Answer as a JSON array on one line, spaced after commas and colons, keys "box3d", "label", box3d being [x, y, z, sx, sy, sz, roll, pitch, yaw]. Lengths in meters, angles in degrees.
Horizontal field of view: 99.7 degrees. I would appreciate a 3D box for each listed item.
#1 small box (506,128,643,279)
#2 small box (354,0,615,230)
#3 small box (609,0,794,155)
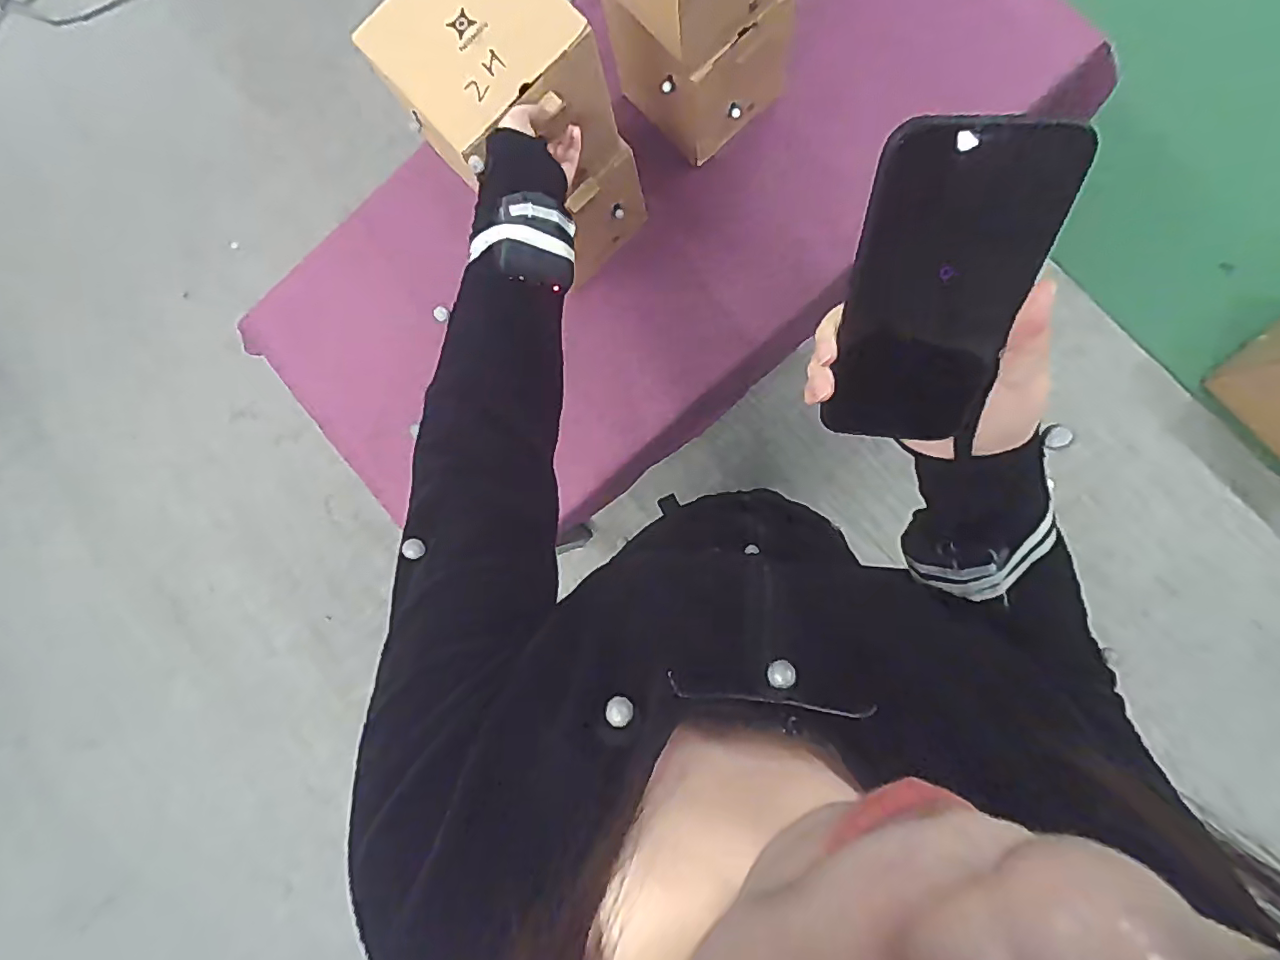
[{"box3d": [-0.113, -0.406, 0.743, 0.168, 0.176, 0.179, -42, 83, 4], "label": "small box"}, {"box3d": [-0.151, -0.413, 0.582, 0.168, 0.176, 0.179, -43, 83, 4], "label": "small box"}, {"box3d": [0.078, -0.589, 0.723, 0.168, 0.176, 0.179, -42, 84, 5], "label": "small box"}]
